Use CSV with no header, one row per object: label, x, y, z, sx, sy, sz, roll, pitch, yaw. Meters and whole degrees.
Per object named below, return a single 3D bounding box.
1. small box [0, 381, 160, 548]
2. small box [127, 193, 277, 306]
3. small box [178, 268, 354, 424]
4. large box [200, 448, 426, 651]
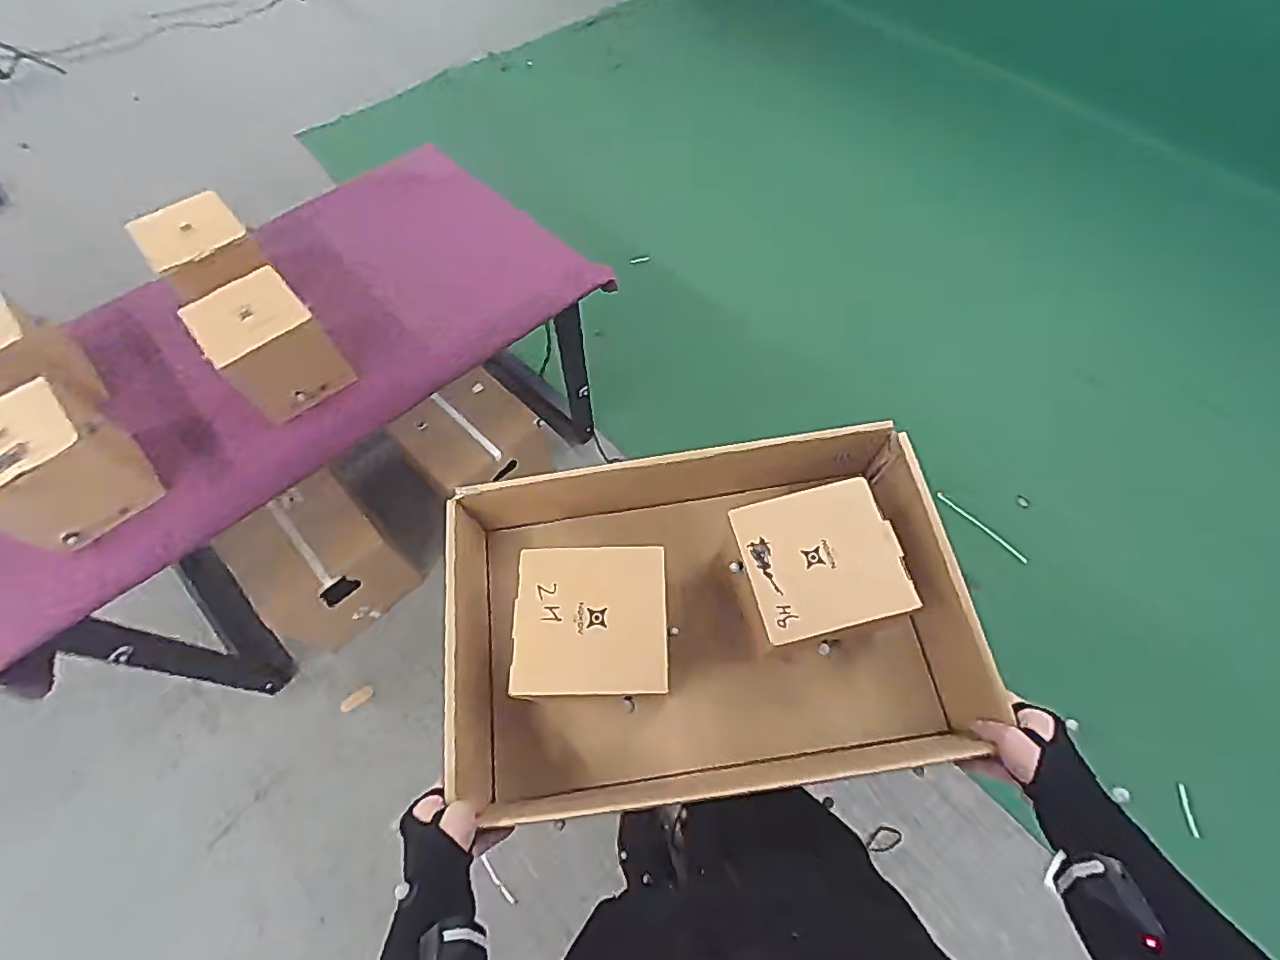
small box,-0.920,-0.014,0.849,0.168,0.176,0.179,-41,67,-20
small box,-0.837,-0.419,1.068,0.168,0.176,0.179,-38,70,-19
small box,-0.658,-0.235,0.969,0.168,0.176,0.179,-39,68,-18
large box,-0.875,0.197,1.489,0.320,0.320,0.408,-40,68,-20
